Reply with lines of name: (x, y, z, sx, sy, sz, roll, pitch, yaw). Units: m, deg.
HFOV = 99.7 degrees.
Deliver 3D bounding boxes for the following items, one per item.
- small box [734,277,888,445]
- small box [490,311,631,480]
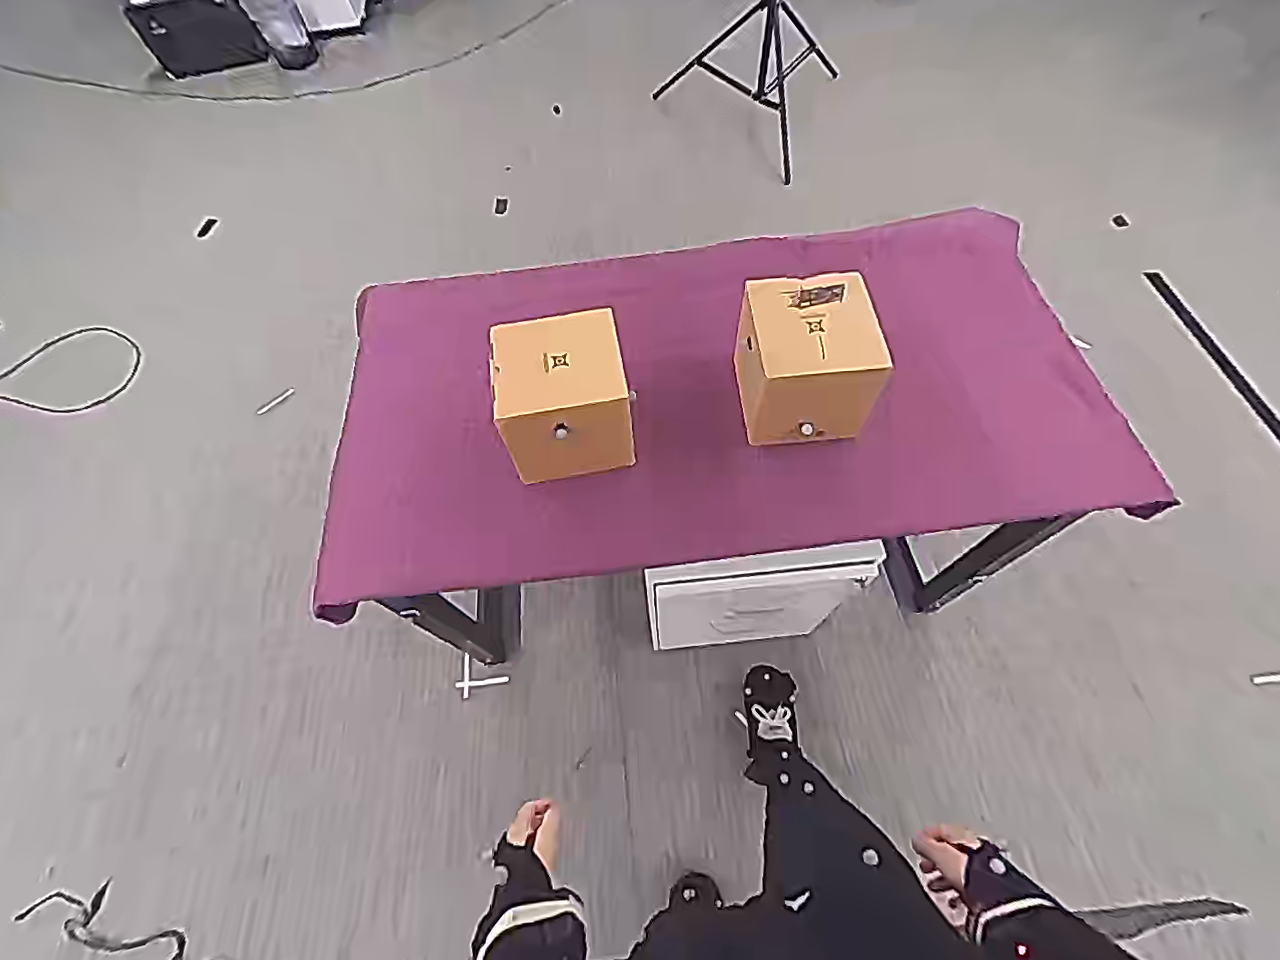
small box: (0.238, -0.172, 0.805, 0.168, 0.176, 0.179, -4, 62, 1)
small box: (-0.110, -0.118, 0.798, 0.179, 0.176, 0.168, -10, 61, -2)
